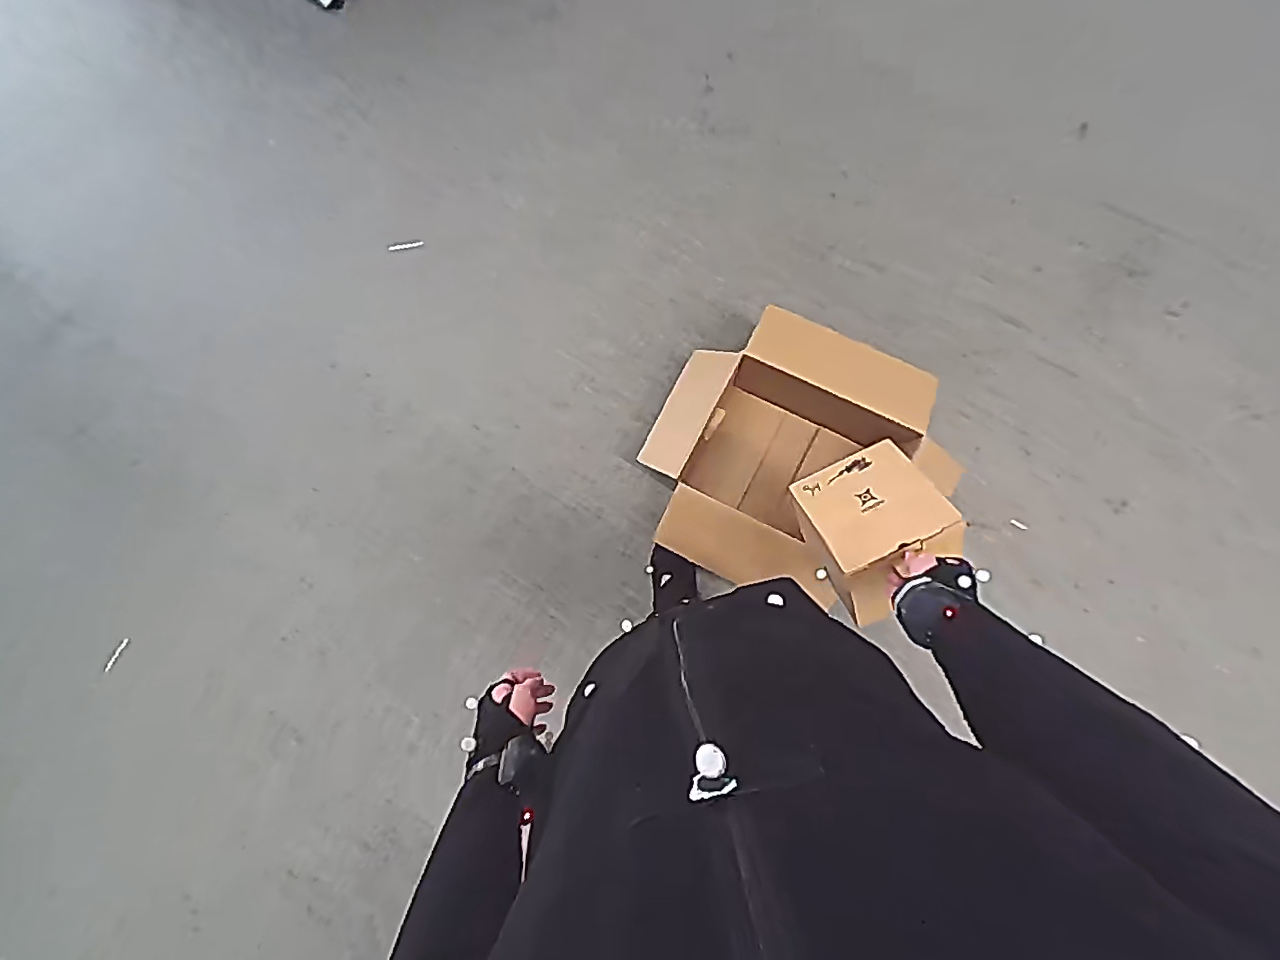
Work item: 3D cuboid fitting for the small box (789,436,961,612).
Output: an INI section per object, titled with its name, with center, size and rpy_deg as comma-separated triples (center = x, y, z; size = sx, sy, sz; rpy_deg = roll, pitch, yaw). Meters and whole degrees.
[small box]
center = 0.347, 0.074, 0.806
size = 0.168, 0.176, 0.179
rpy_deg = -25, 44, 6
